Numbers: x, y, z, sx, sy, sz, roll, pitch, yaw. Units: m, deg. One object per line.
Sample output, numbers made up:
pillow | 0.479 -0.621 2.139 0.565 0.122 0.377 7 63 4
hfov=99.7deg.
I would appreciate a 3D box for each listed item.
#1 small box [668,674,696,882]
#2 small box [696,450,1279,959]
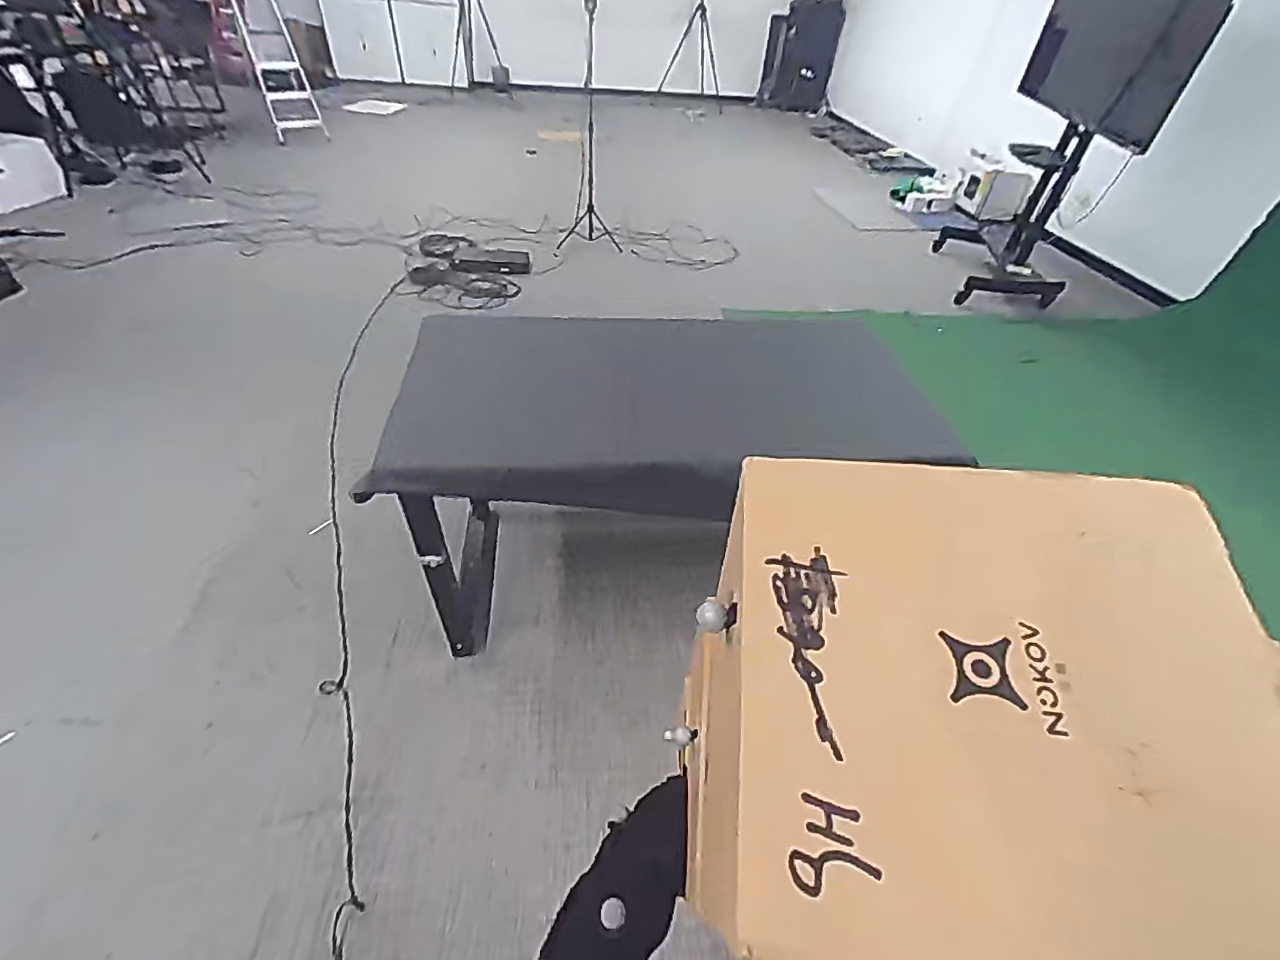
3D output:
small box | 0.121 0.305 0.531 0.179 0.176 0.168 6 56 4
small box | 0.124 0.107 0.253 0.179 0.176 0.168 5 55 5
